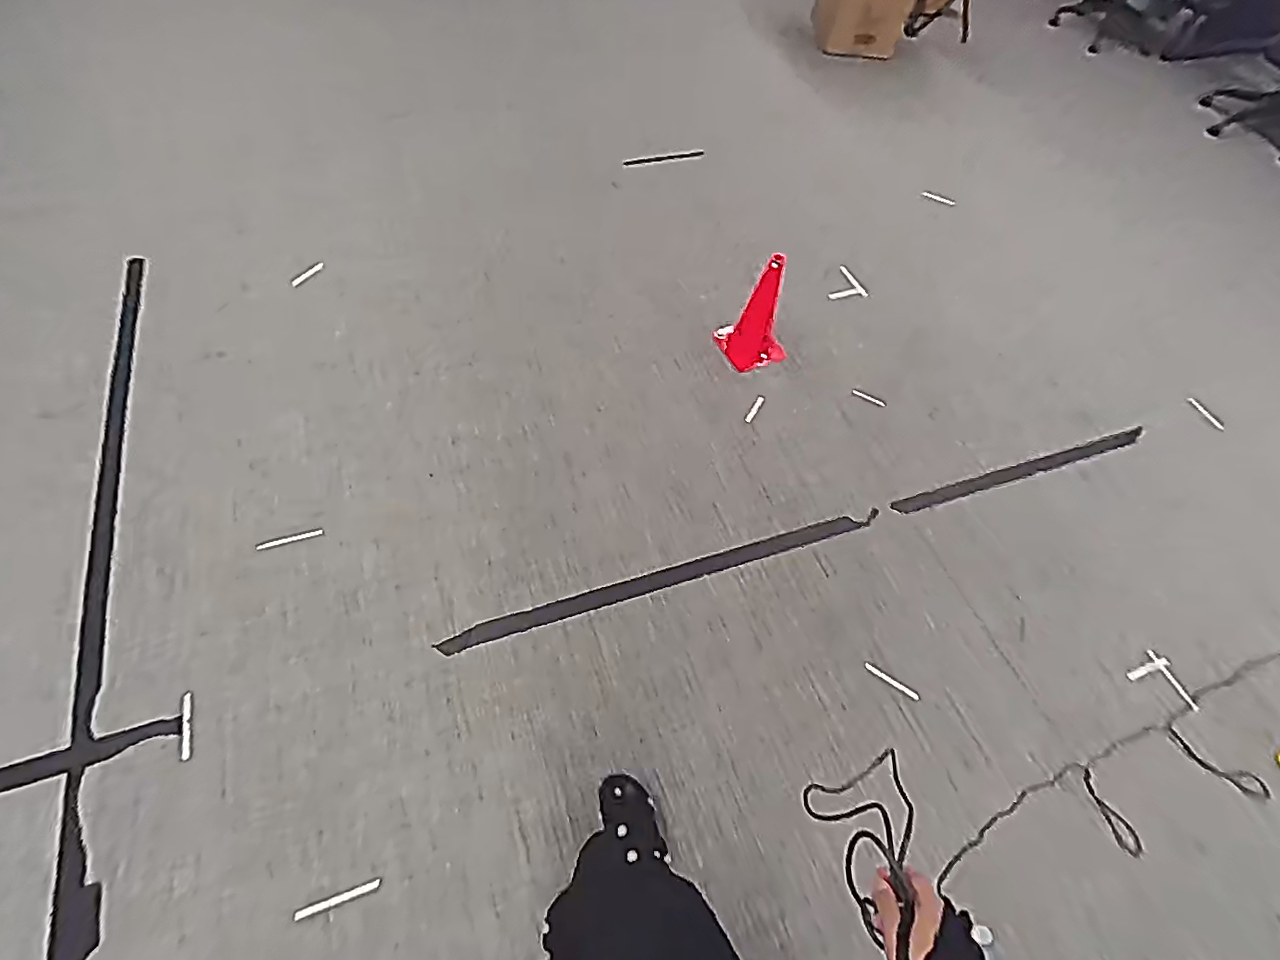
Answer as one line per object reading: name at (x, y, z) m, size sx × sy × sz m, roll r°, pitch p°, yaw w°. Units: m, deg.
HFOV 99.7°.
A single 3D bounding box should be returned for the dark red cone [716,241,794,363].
dark red cone at (0.393, -0.564, 1.685) m, size 0.202 × 0.394 × 0.201 m, roll -22°, pitch 65°, yaw -17°
